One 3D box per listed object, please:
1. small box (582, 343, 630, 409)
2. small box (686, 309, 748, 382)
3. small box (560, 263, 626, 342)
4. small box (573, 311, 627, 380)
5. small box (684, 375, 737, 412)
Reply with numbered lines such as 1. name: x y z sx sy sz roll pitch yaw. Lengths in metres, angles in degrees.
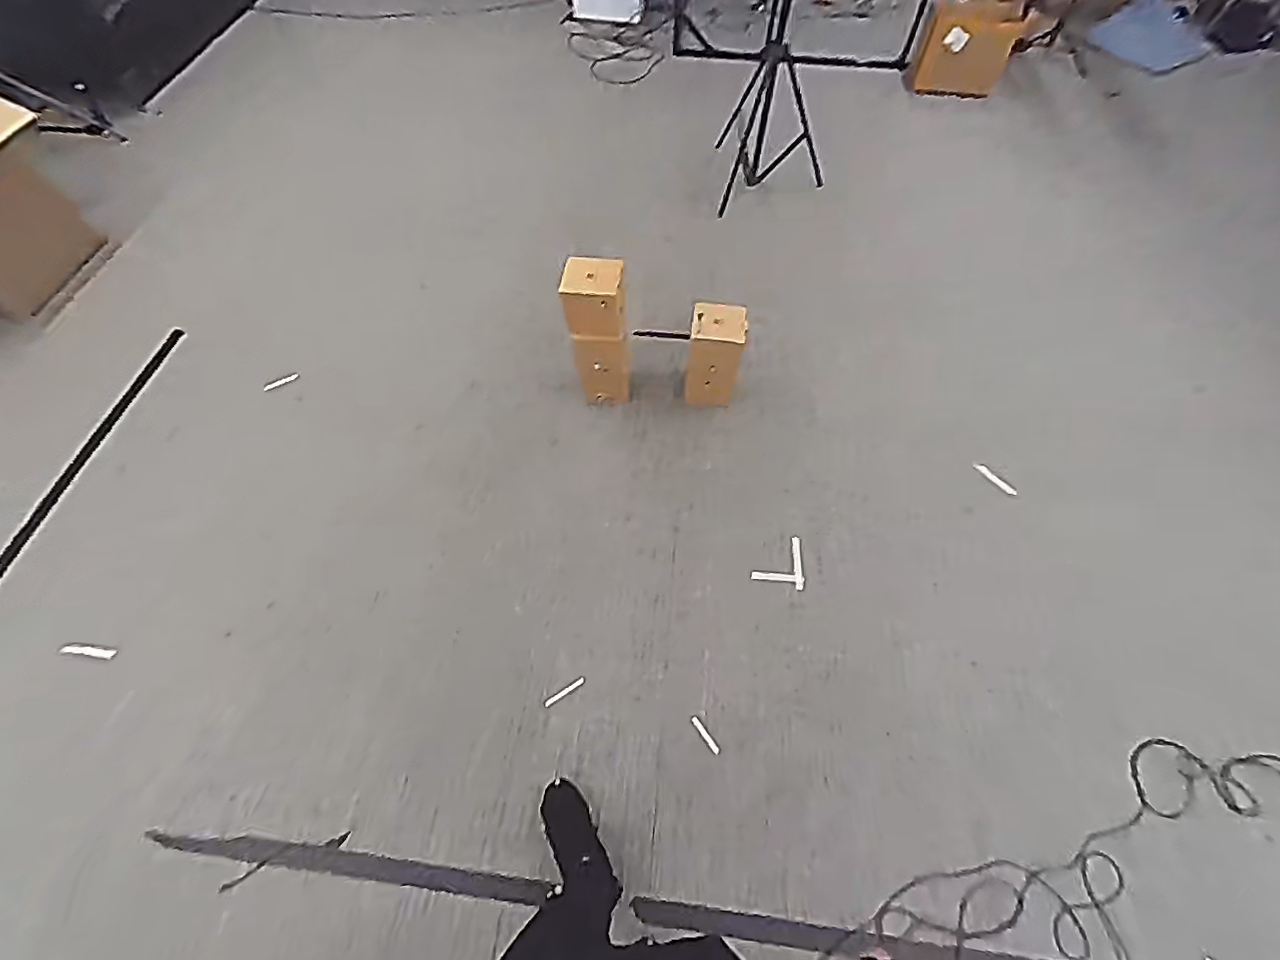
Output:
1. small box: -0.123 -0.383 1.983 0.168 0.176 0.179 0 59 0
2. small box: 0.260 -0.452 1.836 0.179 0.176 0.168 8 59 3
3. small box: -0.141 -0.557 1.707 0.179 0.176 0.168 6 59 4
4. small box: -0.130 -0.463 1.840 0.168 0.176 0.179 1 60 2
5. small box: 0.258 -0.367 1.976 0.179 0.176 0.168 7 60 3
